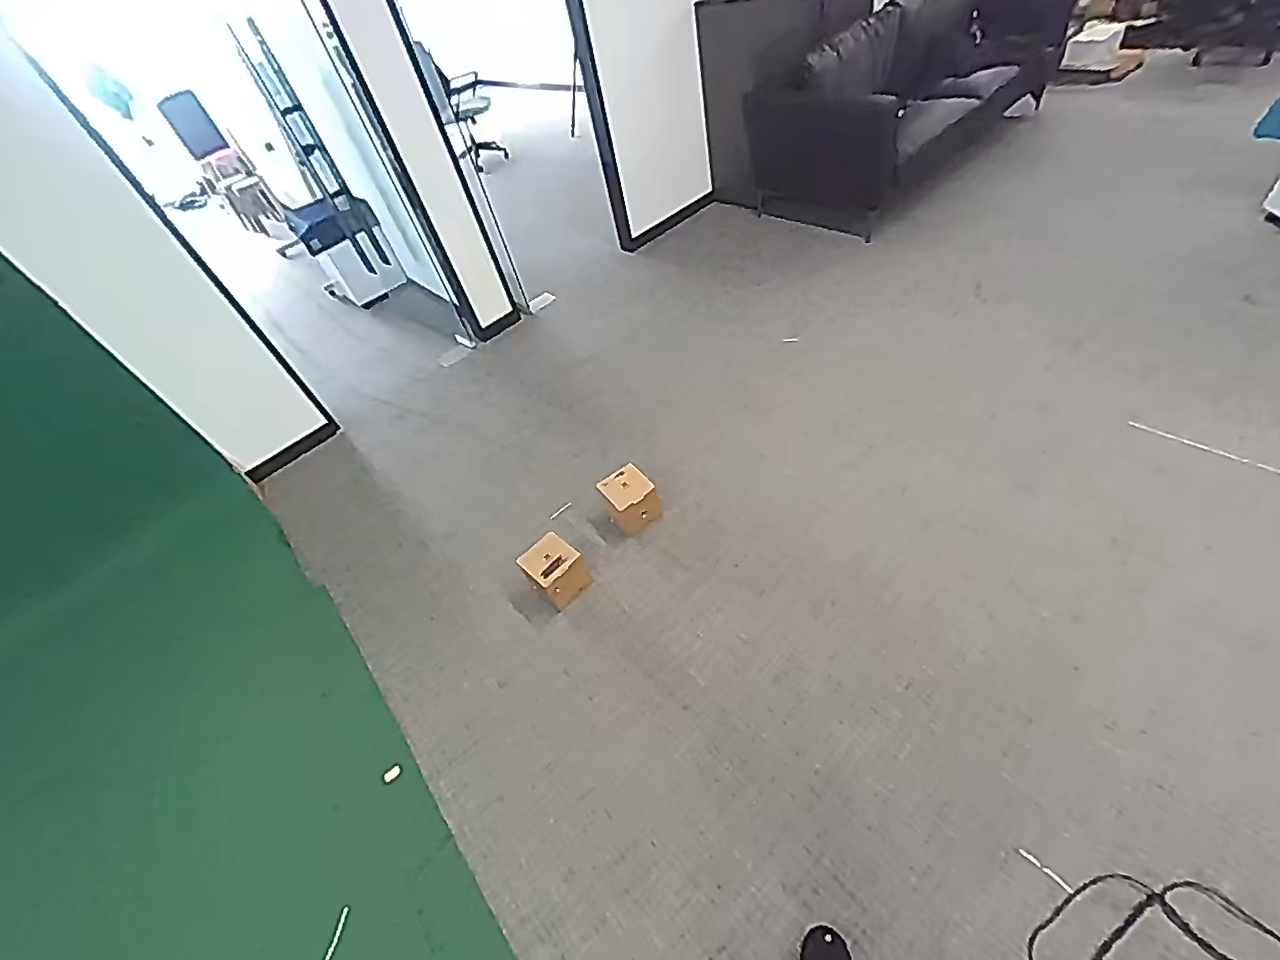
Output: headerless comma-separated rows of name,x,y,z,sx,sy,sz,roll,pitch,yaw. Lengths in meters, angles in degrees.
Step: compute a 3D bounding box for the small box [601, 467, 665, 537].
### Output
small box,-0.022,0.092,2.053,0.168,0.176,0.179,-33,49,-15
